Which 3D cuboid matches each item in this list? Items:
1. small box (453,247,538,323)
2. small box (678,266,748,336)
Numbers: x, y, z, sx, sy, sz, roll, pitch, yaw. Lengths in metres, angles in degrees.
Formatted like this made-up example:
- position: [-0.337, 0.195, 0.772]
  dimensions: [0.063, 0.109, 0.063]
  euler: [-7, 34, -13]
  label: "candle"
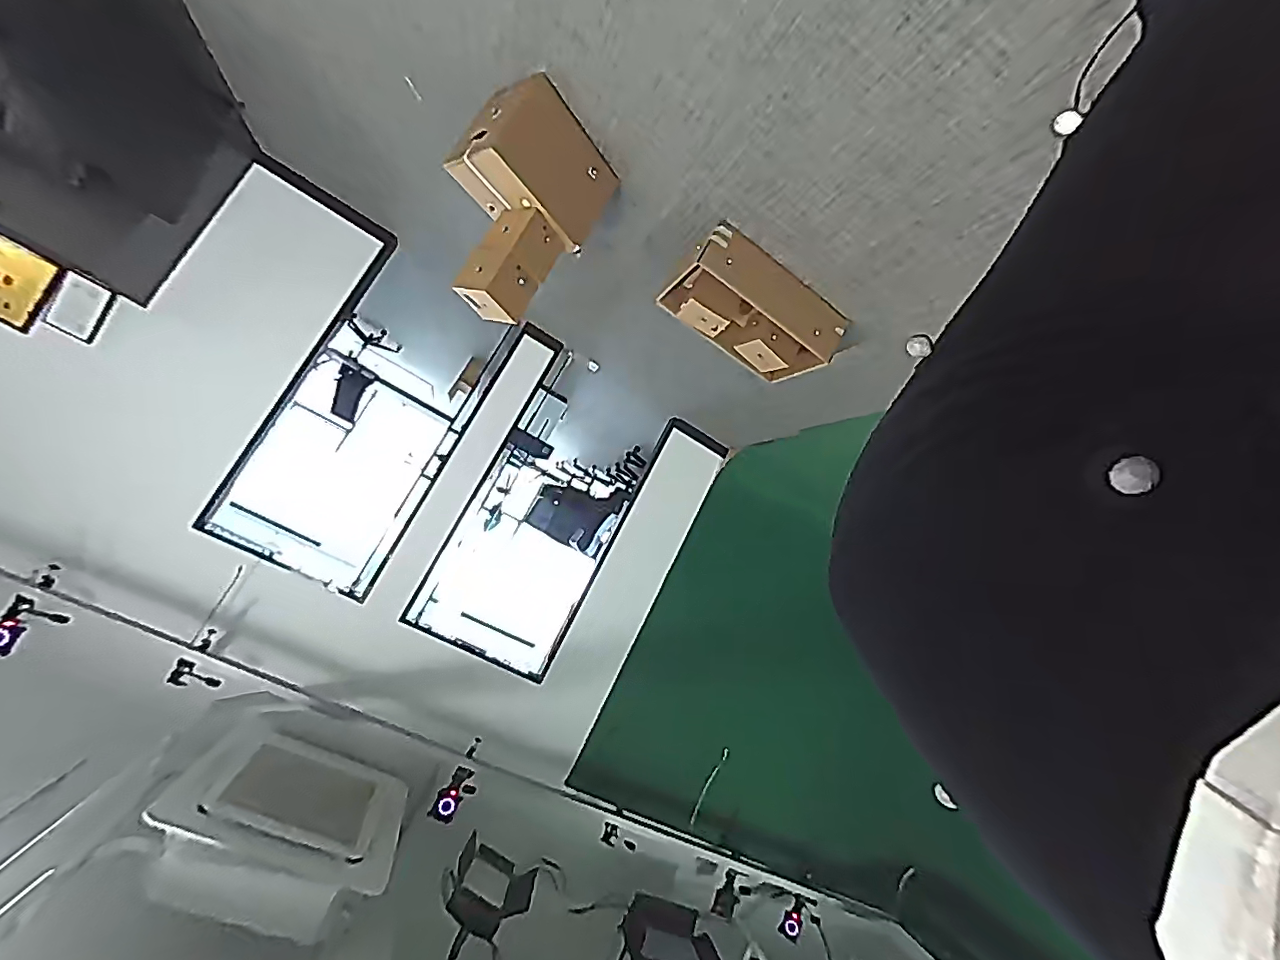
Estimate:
- position: [-0.470, -0.646, 1.784]
  dimensions: [0.179, 0.176, 0.168]
  euler: [19, 166, 33]
  label: "small box"
- position: [0.277, -0.683, 2.049]
  dimensions: [0.179, 0.176, 0.168]
  euler: [30, 169, -11]
  label: "small box"
